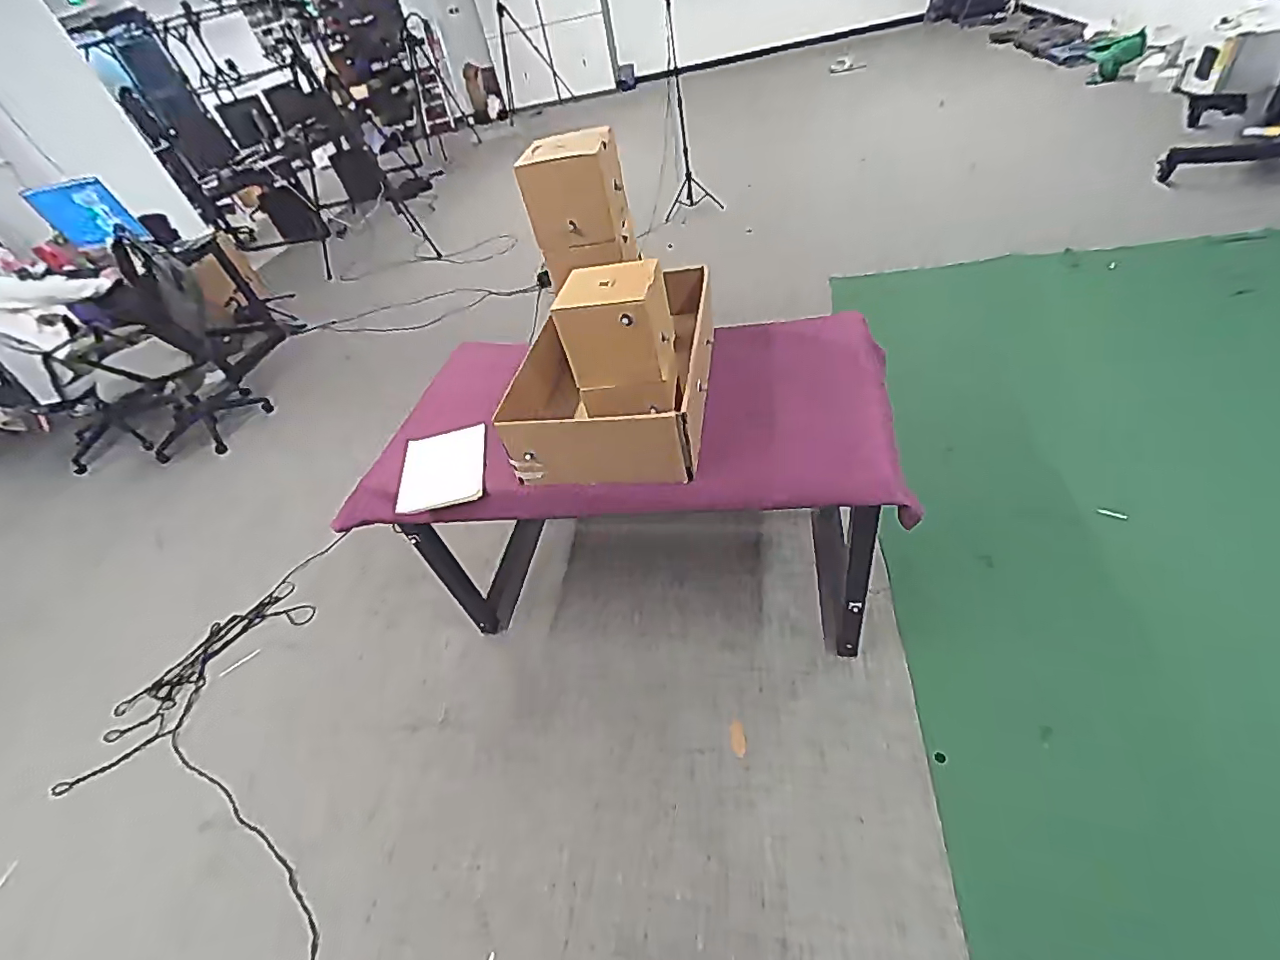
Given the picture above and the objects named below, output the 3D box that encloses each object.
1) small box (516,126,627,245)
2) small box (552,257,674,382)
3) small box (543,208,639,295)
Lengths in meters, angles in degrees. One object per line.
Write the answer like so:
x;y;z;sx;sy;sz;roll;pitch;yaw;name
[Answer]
-0.132;-0.614;1.135;0.179;0.176;0.168;0;46;13;small box
-0.042;-0.298;1.023;0.179;0.176;0.168;-1;44;15;small box
-0.100;-0.498;1.247;0.179;0.176;0.168;-3;46;13;small box
